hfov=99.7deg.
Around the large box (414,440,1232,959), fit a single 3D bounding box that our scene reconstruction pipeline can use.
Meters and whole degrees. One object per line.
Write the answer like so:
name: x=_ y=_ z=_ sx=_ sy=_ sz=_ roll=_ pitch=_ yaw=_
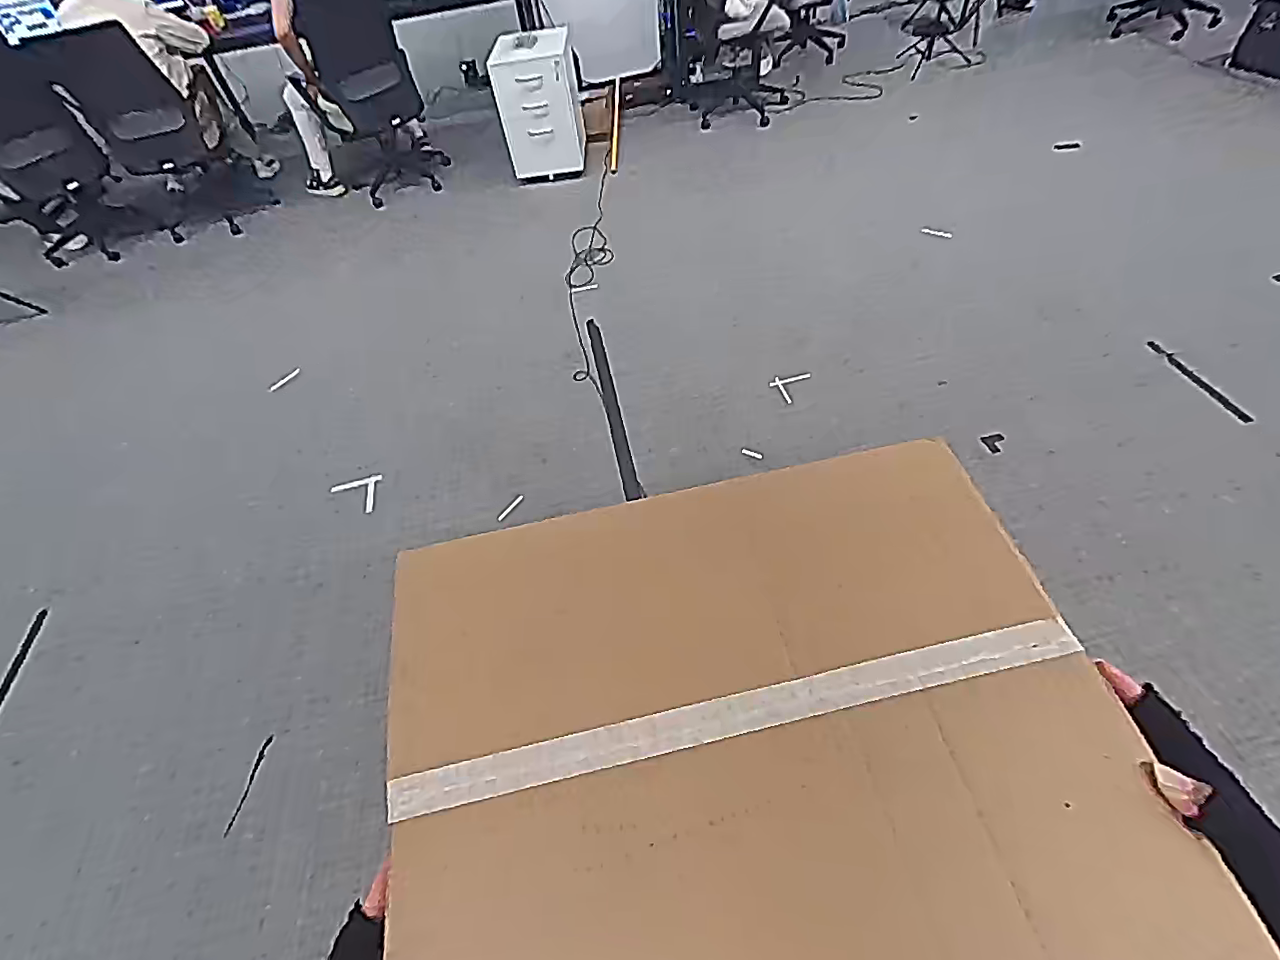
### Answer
large box: x=0.071 y=0.217 z=0.451 sx=0.408 sy=0.320 sz=0.320 roll=-13 pitch=58 yaw=-3
